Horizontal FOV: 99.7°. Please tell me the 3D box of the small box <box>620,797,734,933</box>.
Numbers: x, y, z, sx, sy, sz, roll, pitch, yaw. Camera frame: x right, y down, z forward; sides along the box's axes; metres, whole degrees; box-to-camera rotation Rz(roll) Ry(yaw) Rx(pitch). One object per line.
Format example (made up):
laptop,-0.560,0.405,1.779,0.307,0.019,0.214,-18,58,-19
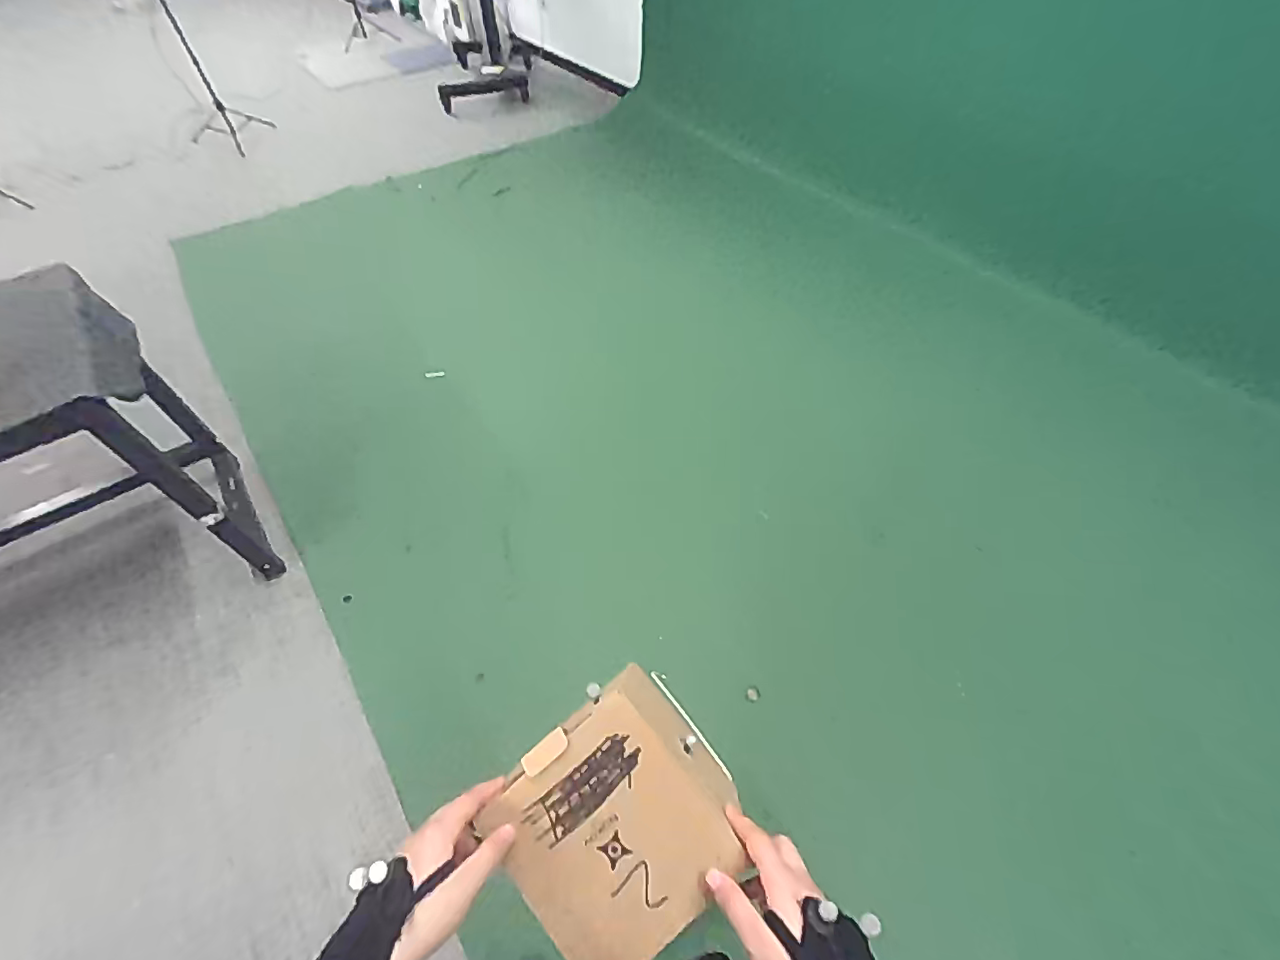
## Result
small box,0.072,0.801,1.130,0.179,0.176,0.168,-24,57,-18
